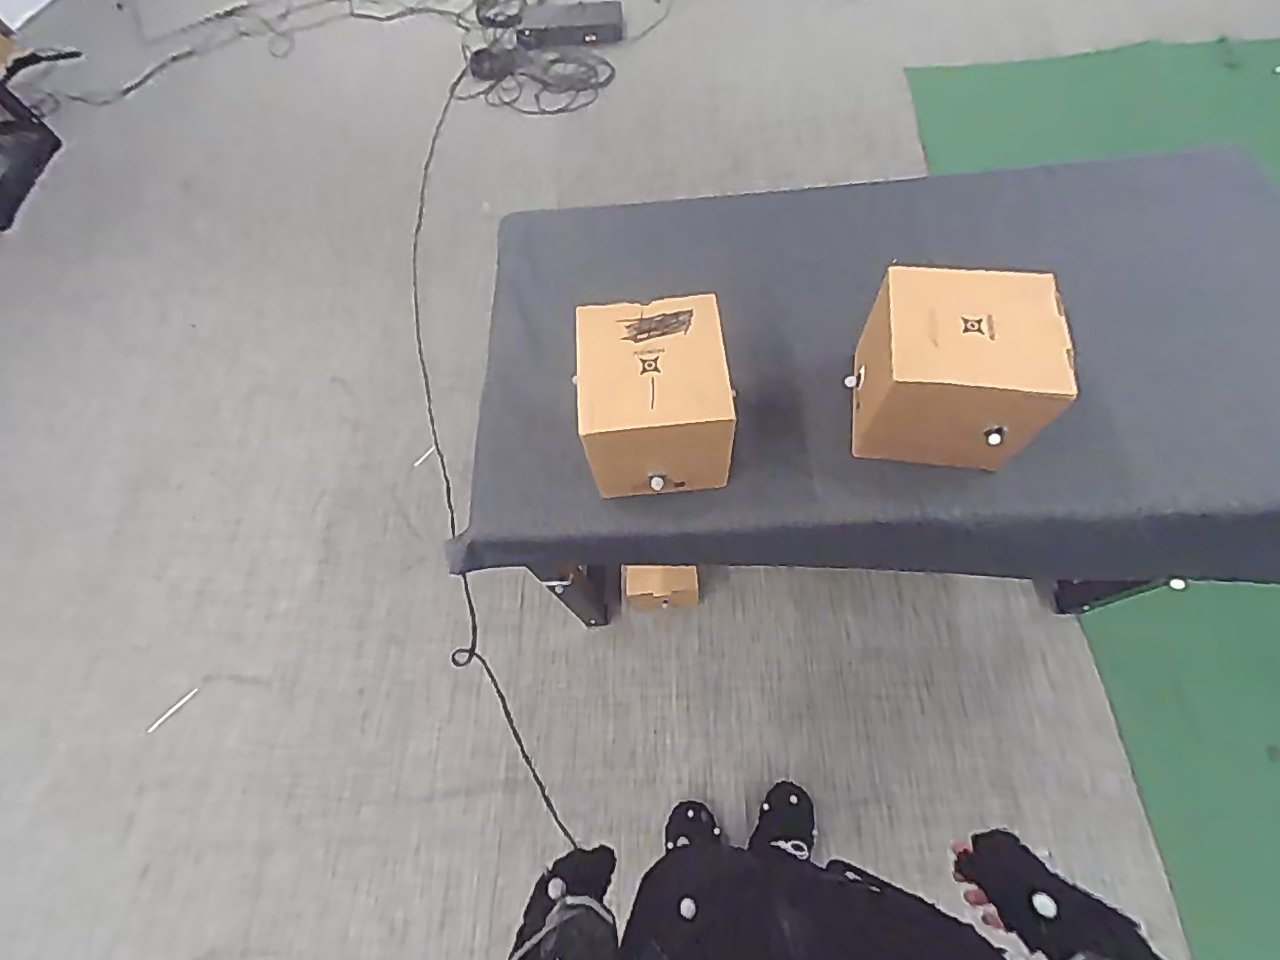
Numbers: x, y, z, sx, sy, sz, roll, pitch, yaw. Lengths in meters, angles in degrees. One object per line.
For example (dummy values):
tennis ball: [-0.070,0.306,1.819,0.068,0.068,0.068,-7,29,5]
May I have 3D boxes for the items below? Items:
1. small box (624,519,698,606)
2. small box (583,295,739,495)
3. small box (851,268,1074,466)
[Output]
small box: [0.054,0.210,1.332,0.168,0.176,0.179,-5,65,3]
small box: [0.023,-0.098,0.668,0.168,0.176,0.179,-5,64,3]
small box: [0.367,-0.129,0.654,0.179,0.176,0.168,5,64,9]
